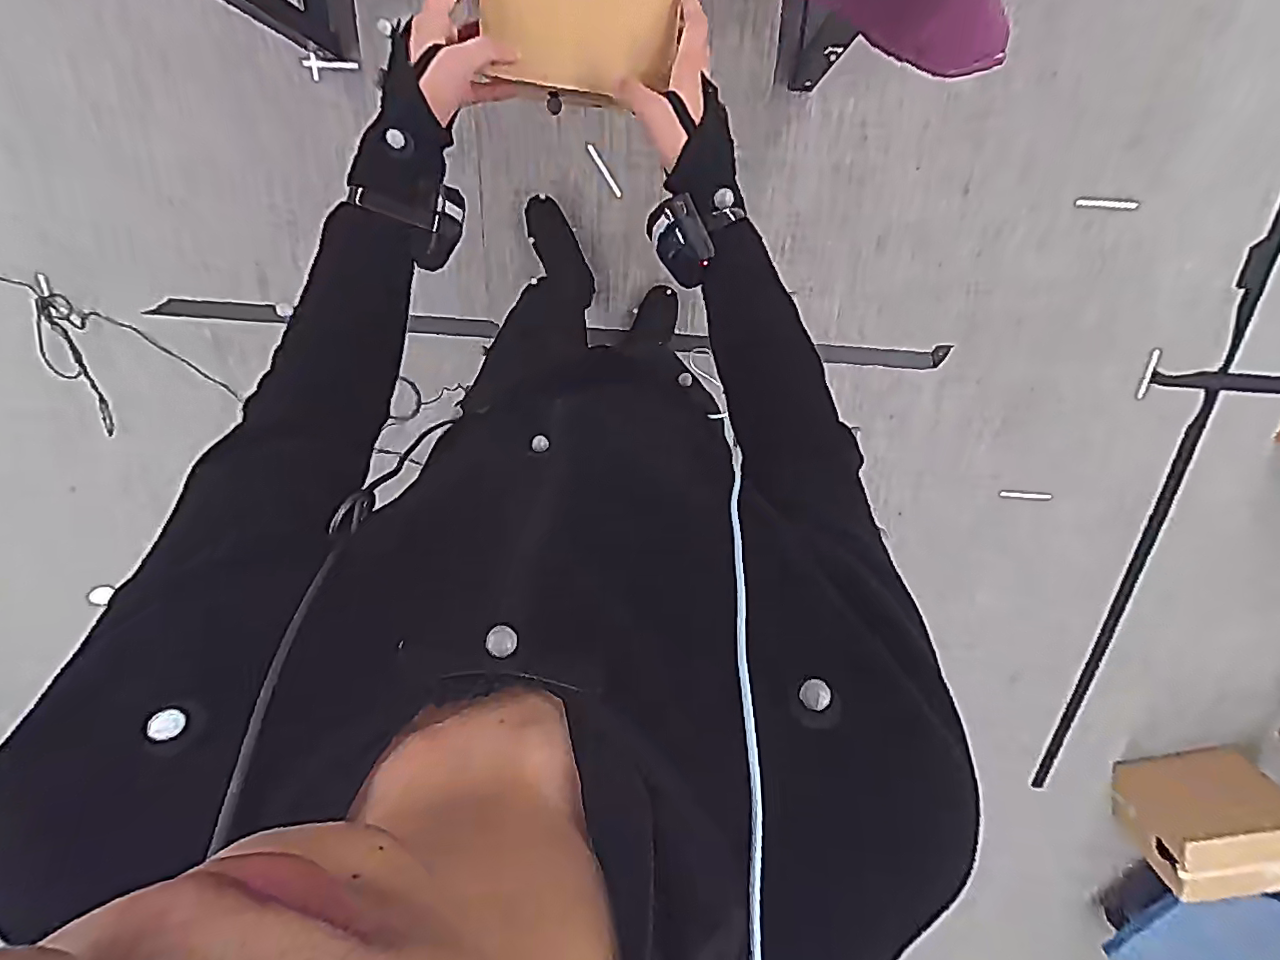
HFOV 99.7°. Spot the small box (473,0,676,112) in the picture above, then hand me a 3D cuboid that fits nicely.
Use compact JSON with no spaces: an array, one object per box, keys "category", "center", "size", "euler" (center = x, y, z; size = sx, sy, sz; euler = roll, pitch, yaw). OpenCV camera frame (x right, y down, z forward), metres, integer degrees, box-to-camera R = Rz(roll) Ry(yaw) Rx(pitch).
[{"category":"small box","center":[-0.054,-0.453,0.491],"size":[0.168,0.176,0.179],"euler":[3,119,-8]}]

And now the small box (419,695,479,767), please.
[{"category":"small box","center":[-0.704,0.927,2.006],"size":[0.168,0.176,0.179],"euler":[7,113,0]}]
